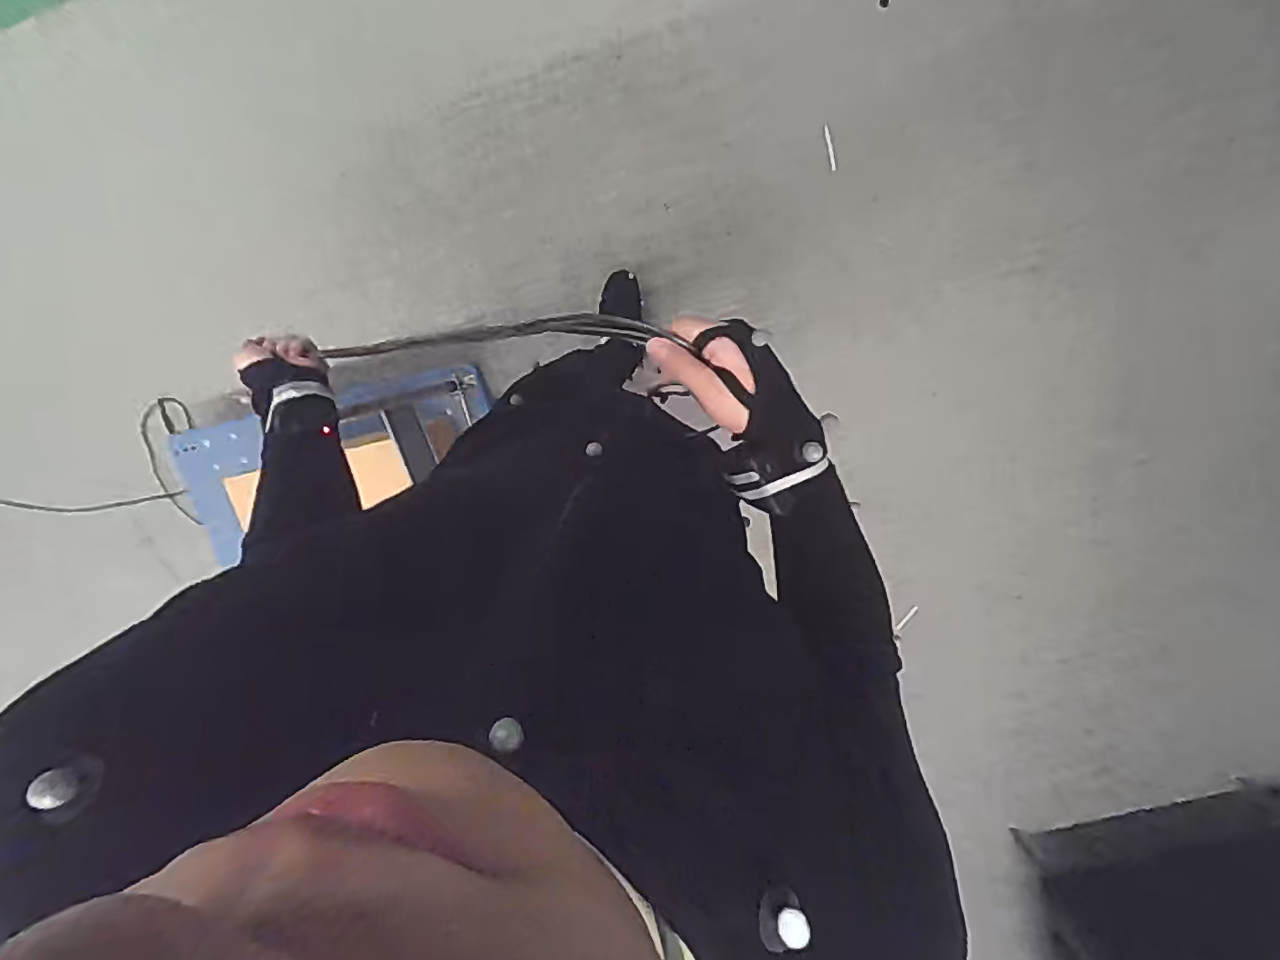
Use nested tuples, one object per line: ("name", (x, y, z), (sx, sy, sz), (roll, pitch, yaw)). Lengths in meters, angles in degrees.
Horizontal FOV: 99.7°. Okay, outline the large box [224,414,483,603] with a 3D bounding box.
("large box", (-0.656, 0.052, 1.313), (0.408, 0.320, 0.320), (-12, 104, 4))
